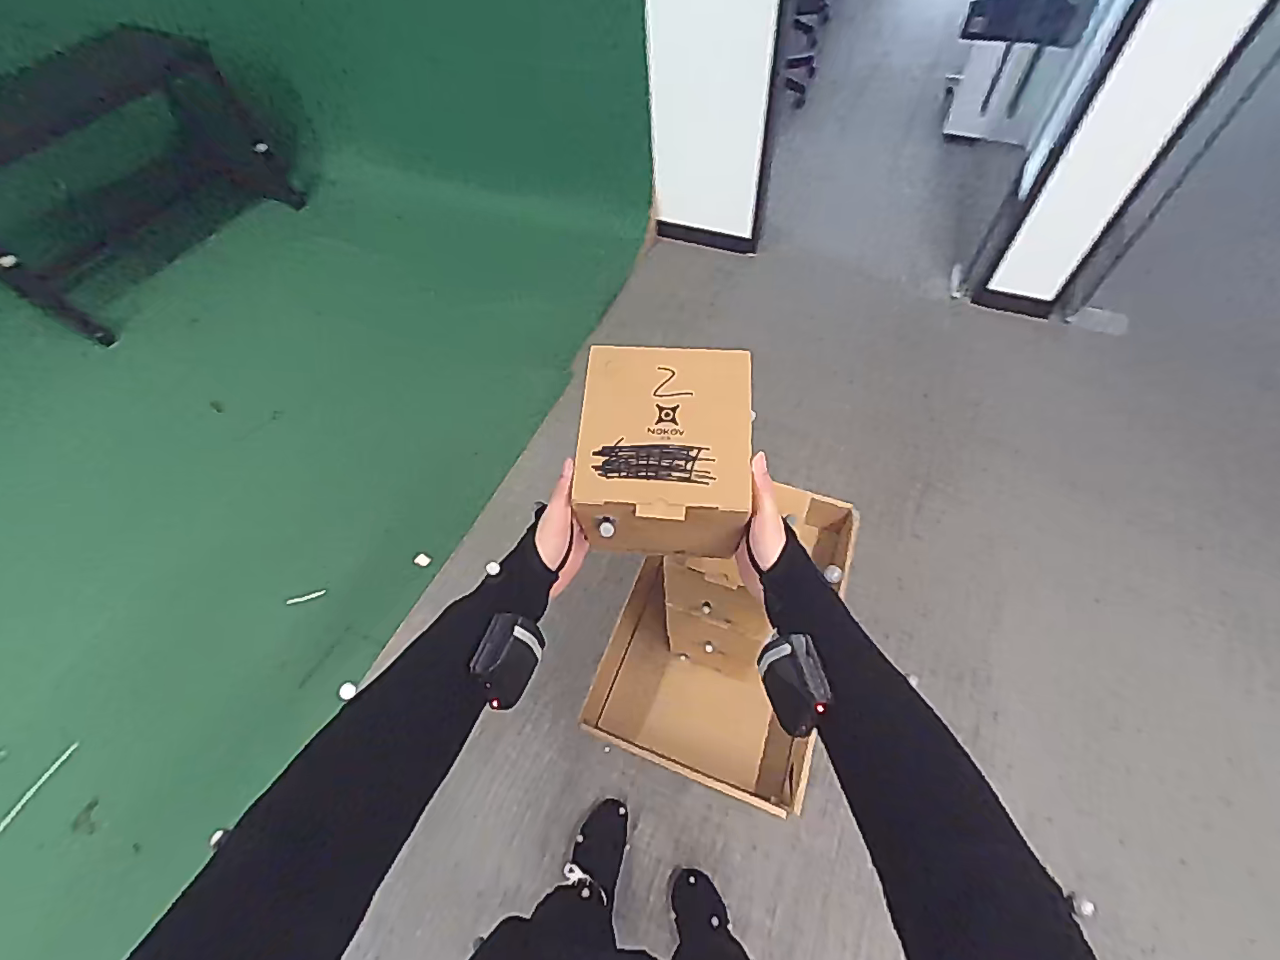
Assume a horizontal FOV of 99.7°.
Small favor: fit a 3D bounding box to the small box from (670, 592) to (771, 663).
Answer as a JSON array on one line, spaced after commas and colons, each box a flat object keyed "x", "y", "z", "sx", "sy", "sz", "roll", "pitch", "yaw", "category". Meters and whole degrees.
[{"x": 0.156, "y": 0.195, "z": 0.952, "sx": 0.168, "sy": 0.176, "sz": 0.179, "roll": 17, "pitch": 60, "yaw": 15, "category": "small box"}]

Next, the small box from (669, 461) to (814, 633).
[{"x": 0.147, "y": 0.104, "z": 0.818, "sx": 0.168, "sy": 0.176, "sz": 0.179, "roll": 17, "pitch": 61, "yaw": 14, "category": "small box"}]

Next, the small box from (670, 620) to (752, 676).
[{"x": 0.168, "y": 0.274, "z": 1.097, "sx": 0.168, "sy": 0.176, "sz": 0.179, "roll": 18, "pitch": 60, "yaw": 14, "category": "small box"}]
